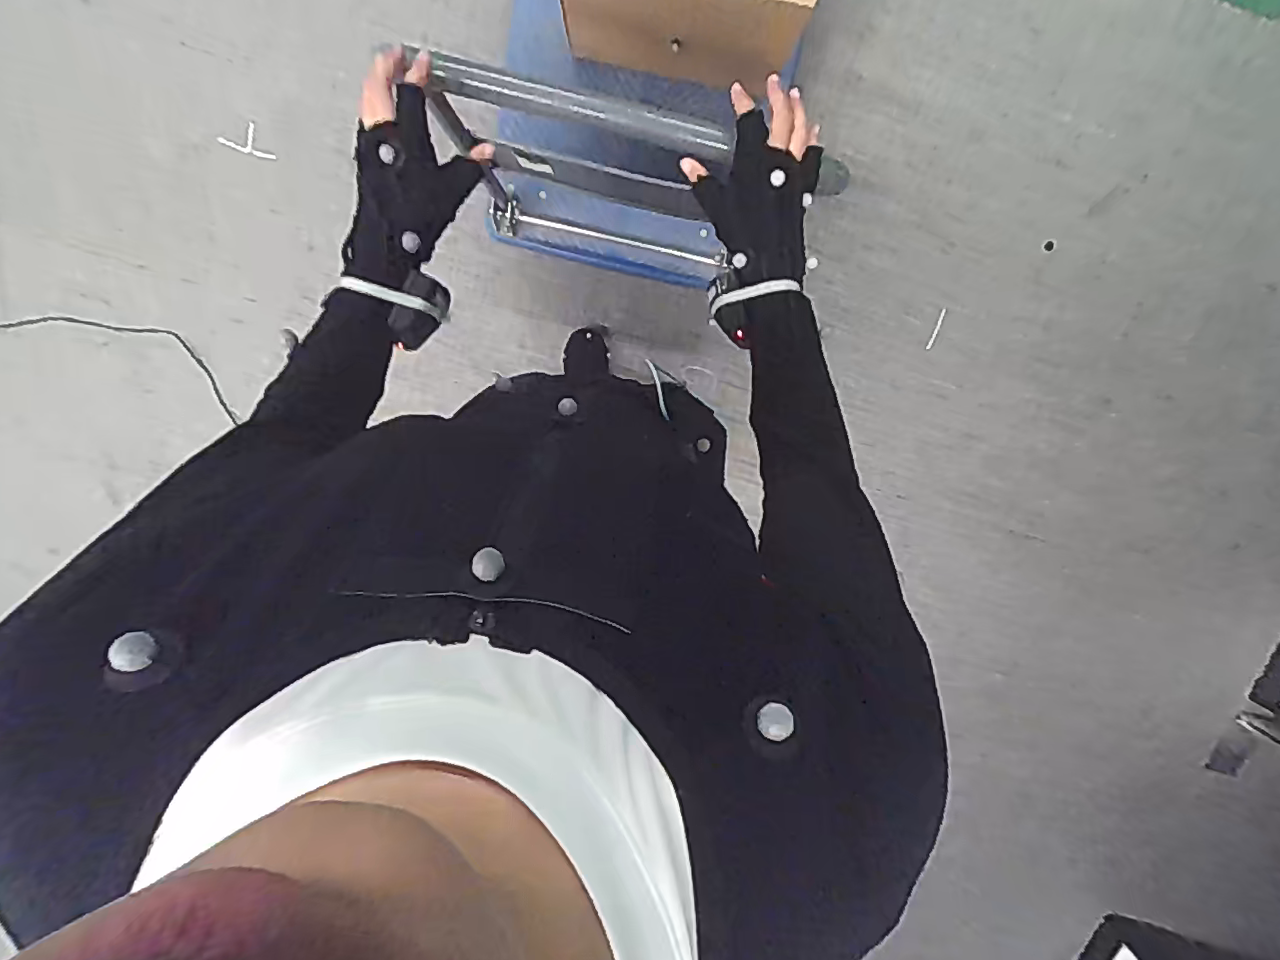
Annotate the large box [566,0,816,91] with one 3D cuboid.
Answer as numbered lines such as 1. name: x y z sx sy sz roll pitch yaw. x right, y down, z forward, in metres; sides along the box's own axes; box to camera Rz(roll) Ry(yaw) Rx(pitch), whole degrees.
1. large box: 0.094 -0.934 0.925 0.408 0.320 0.320 9 103 -3
